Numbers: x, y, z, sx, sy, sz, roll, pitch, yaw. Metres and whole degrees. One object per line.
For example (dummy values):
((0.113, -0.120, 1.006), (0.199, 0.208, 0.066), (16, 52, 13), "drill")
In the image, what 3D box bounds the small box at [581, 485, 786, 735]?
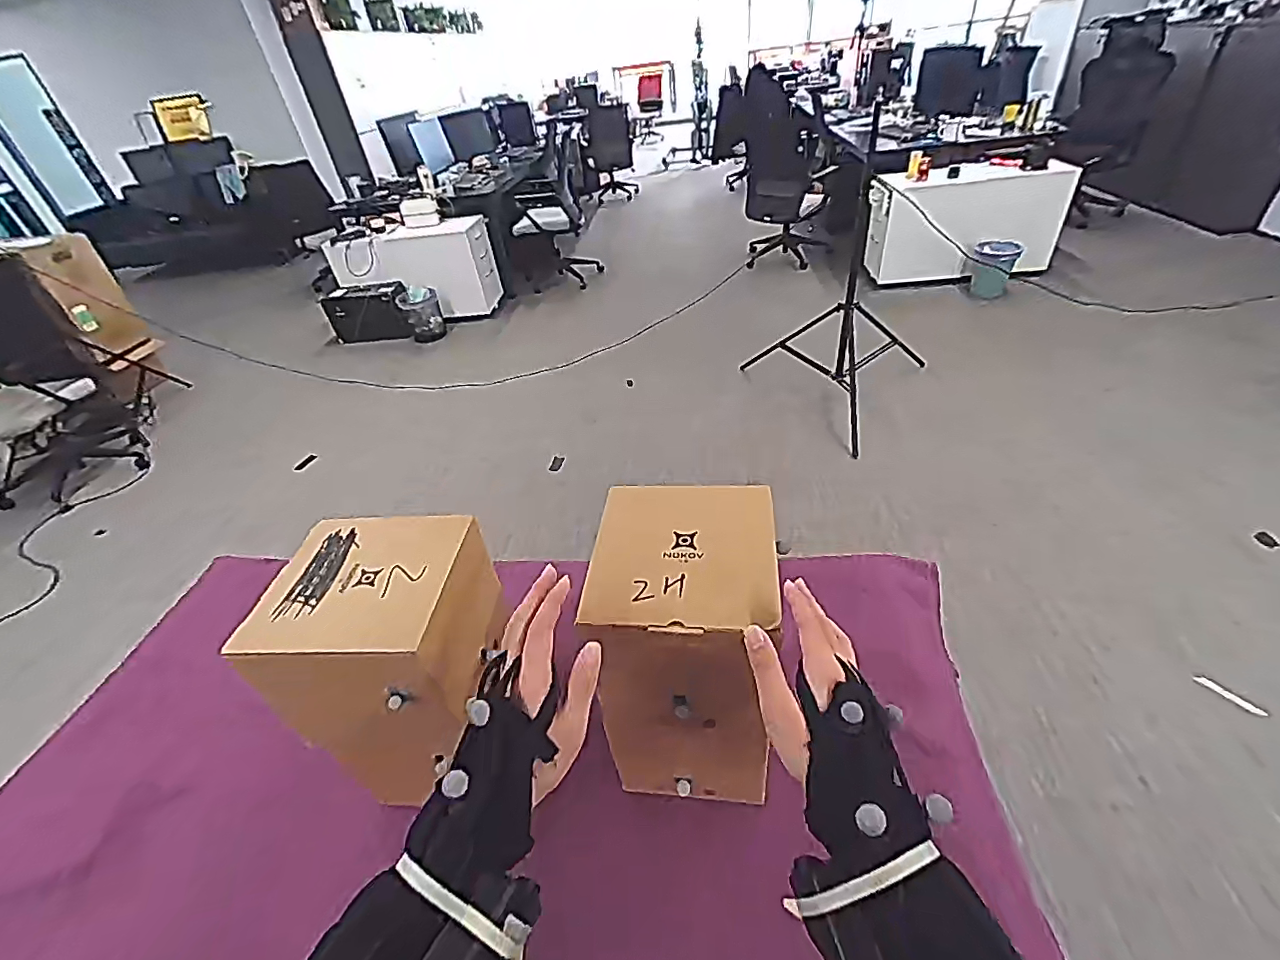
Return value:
((0.051, 0.123, 0.536), (0.168, 0.176, 0.179), (-1, 39, 10), "small box")

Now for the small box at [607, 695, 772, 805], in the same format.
((0.066, 0.250, 0.640), (0.168, 0.176, 0.179), (0, 40, 10), "small box")

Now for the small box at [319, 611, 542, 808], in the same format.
((-0.235, 0.279, 0.660), (0.179, 0.176, 0.168), (-2, 39, 7), "small box")
